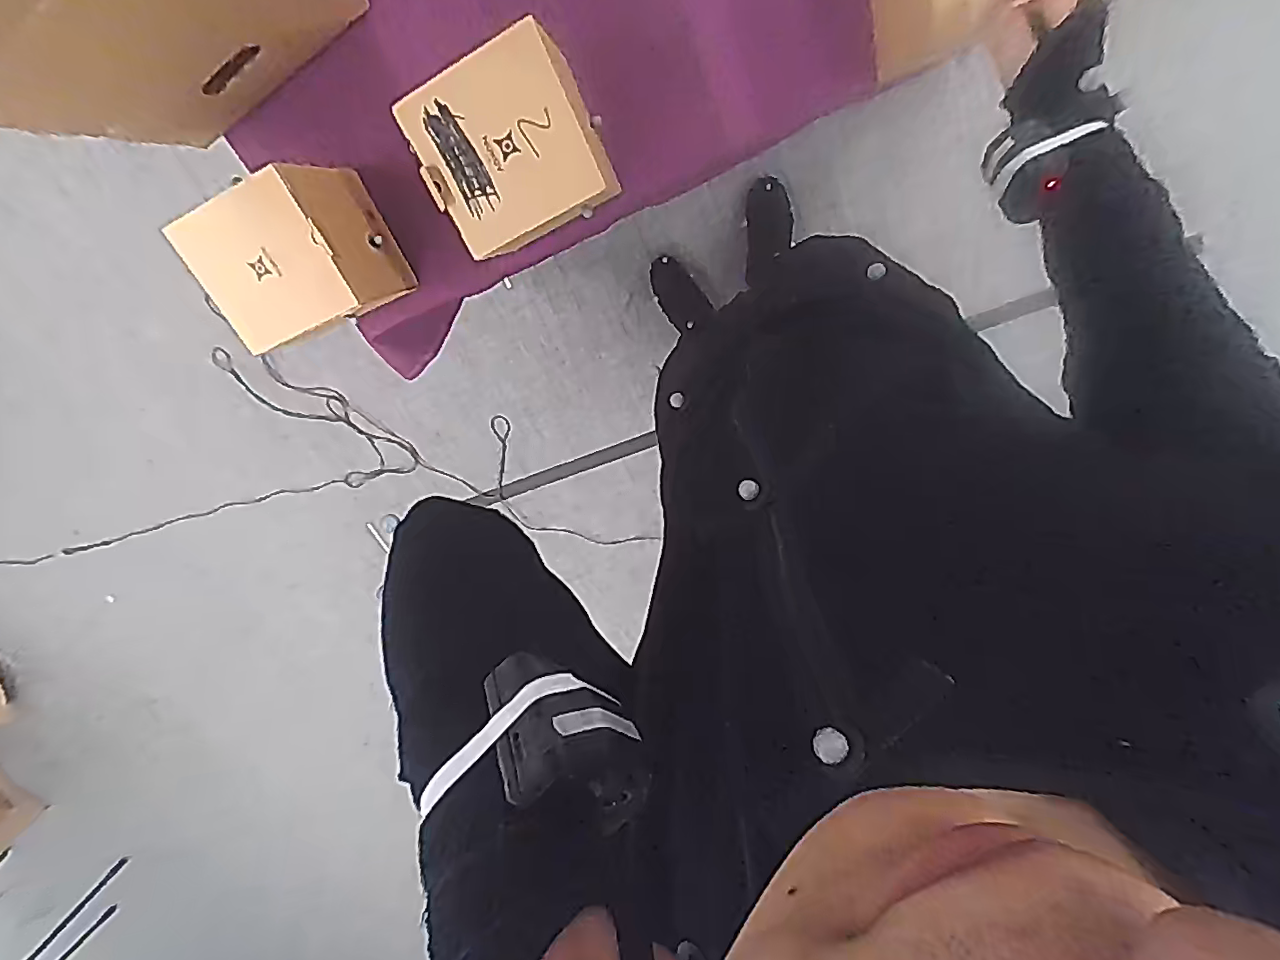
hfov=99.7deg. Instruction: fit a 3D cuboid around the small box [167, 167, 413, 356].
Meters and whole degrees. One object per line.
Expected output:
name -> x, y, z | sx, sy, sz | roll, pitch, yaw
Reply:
small box -> -0.444, -0.287, 0.719 | 0.179, 0.176, 0.168 | -20, 114, 13
